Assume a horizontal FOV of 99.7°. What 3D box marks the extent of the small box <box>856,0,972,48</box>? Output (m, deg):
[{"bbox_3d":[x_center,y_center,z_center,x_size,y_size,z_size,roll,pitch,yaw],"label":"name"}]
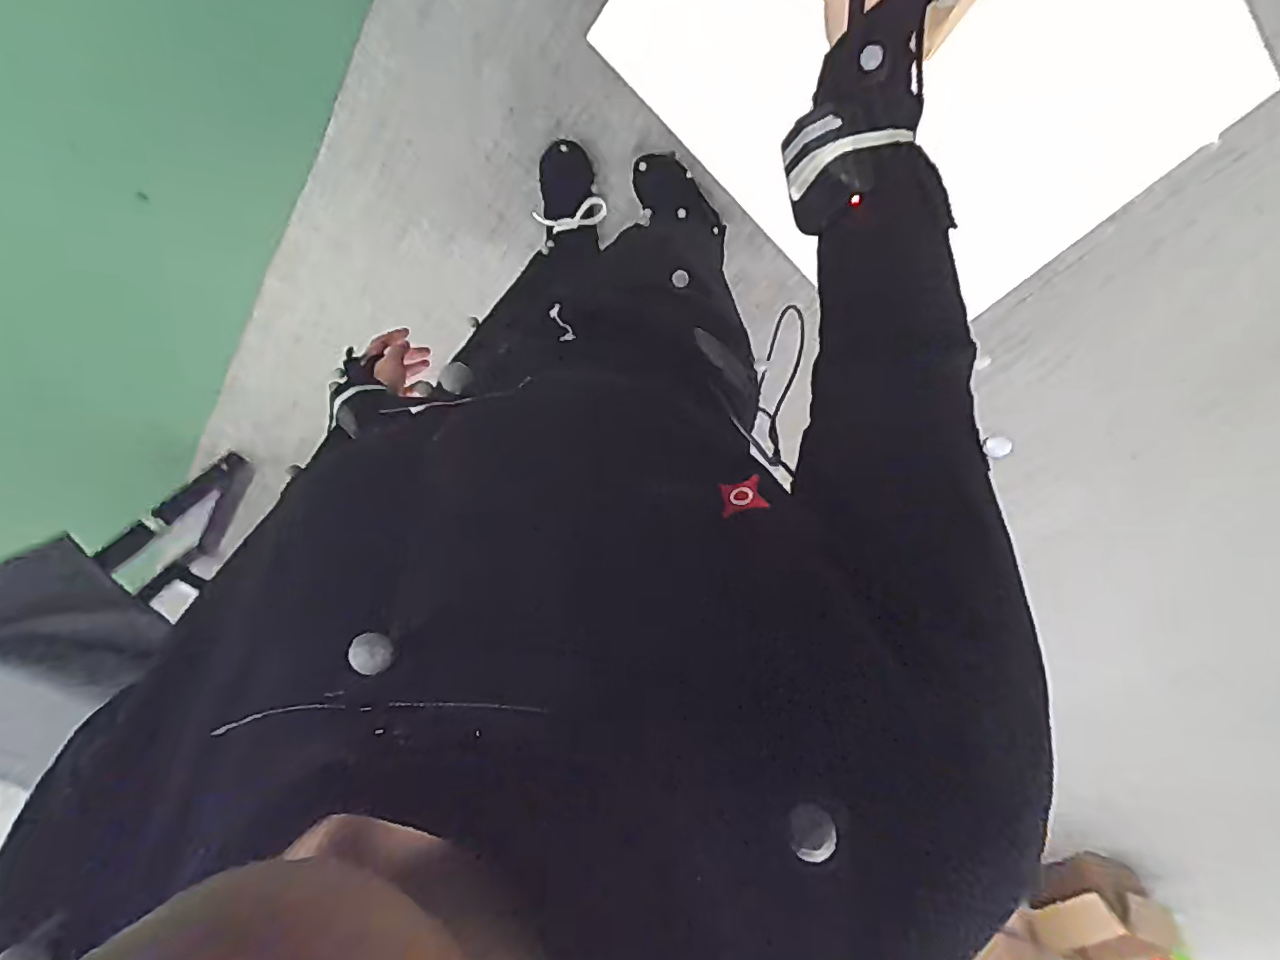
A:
[{"bbox_3d":[0.205,-0.434,0.331,0.168,0.176,0.179,40,108,0],"label":"small box"}]
